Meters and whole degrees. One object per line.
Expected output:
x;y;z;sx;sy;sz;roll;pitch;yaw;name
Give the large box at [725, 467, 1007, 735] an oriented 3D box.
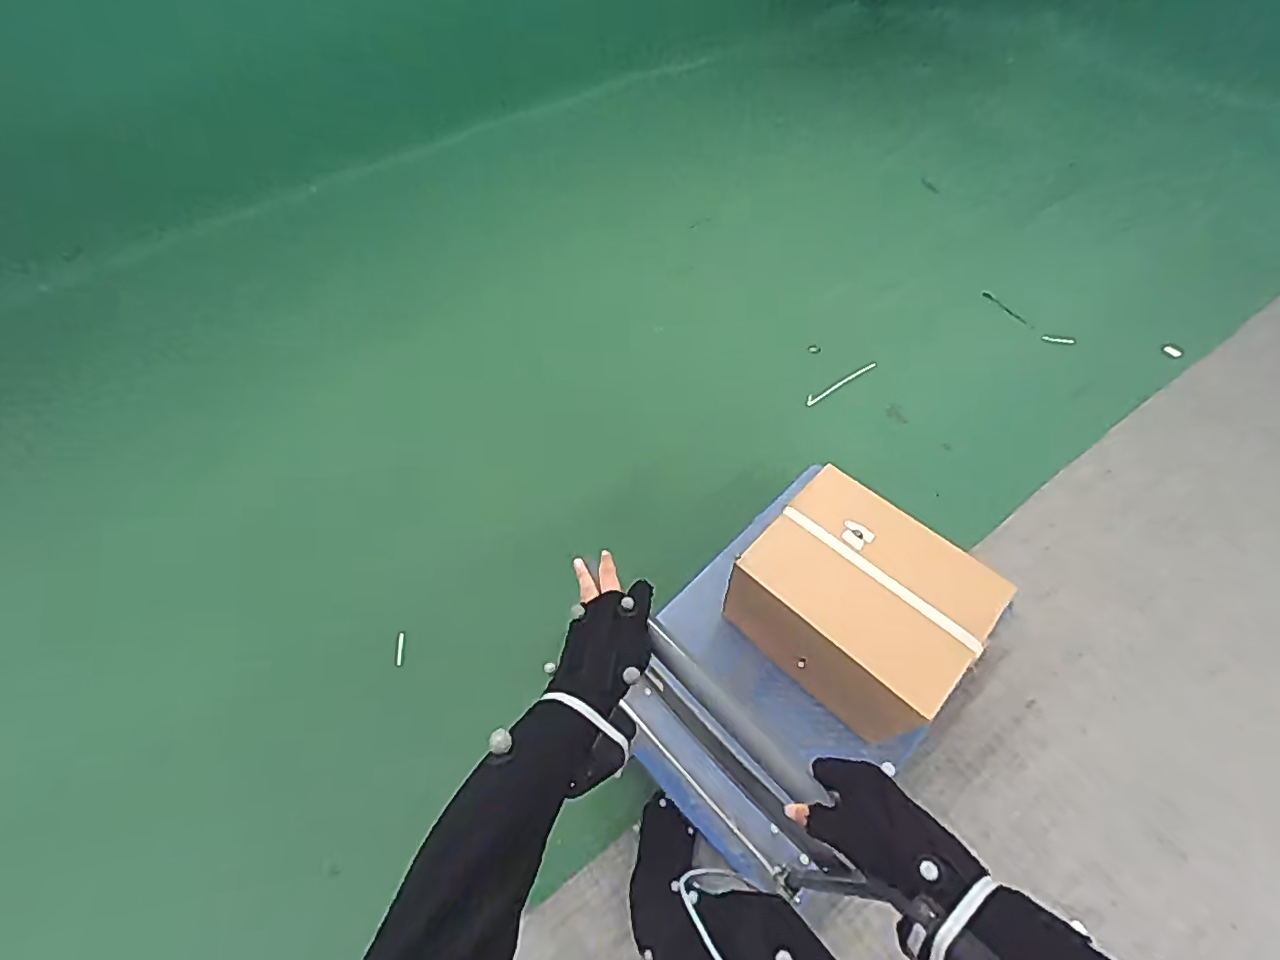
0.436;0.255;1.136;0.408;0.320;0.320;39;67;25;large box
